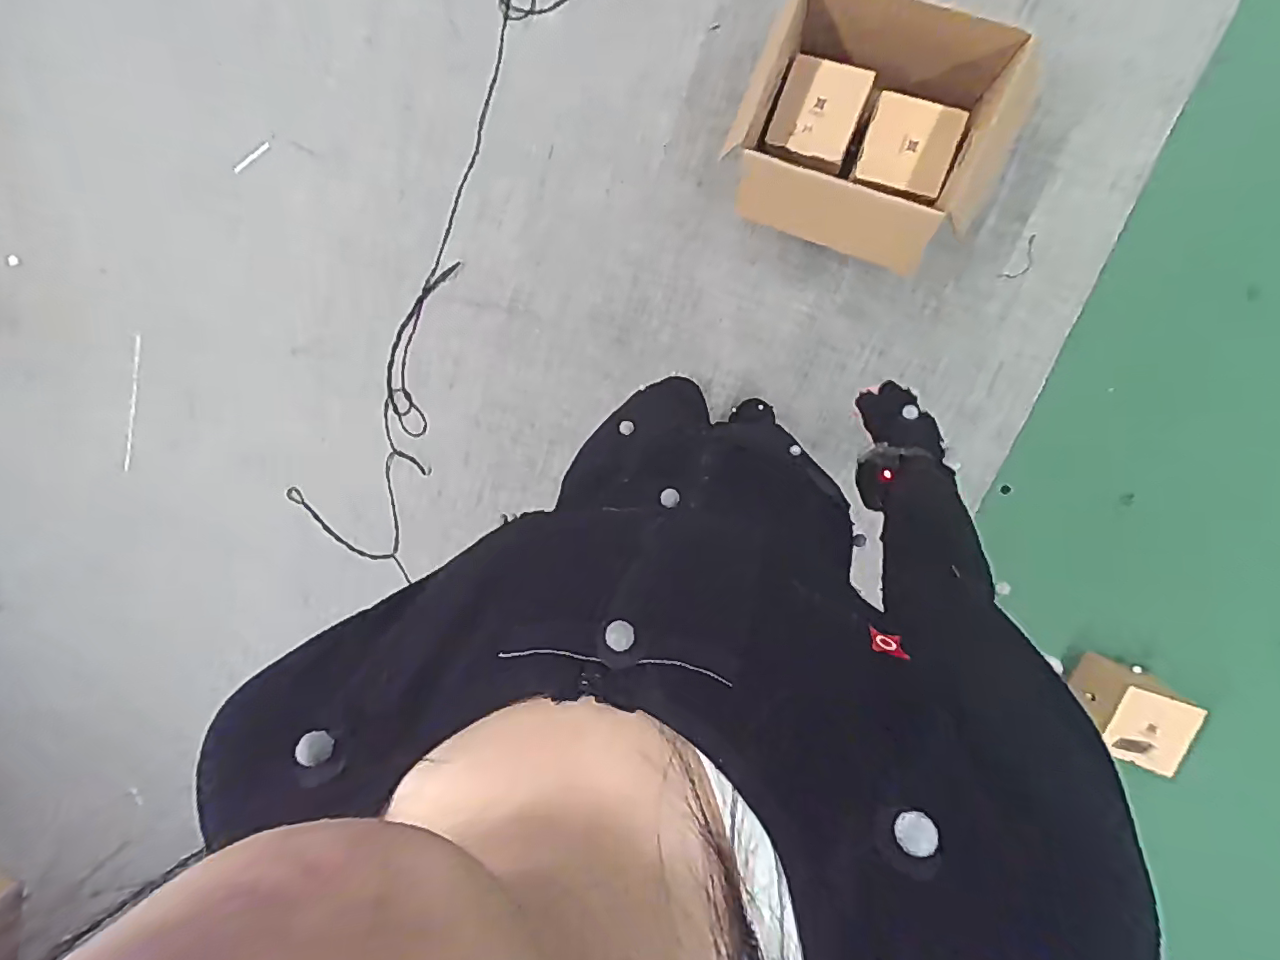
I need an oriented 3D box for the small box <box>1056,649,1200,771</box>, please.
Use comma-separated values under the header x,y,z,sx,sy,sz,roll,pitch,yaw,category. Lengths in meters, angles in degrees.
x,y,z,sx,sy,sz,roll,pitch,yaw,category
1.146,0.540,1.291,0.168,0.176,0.179,18,102,7,small box
